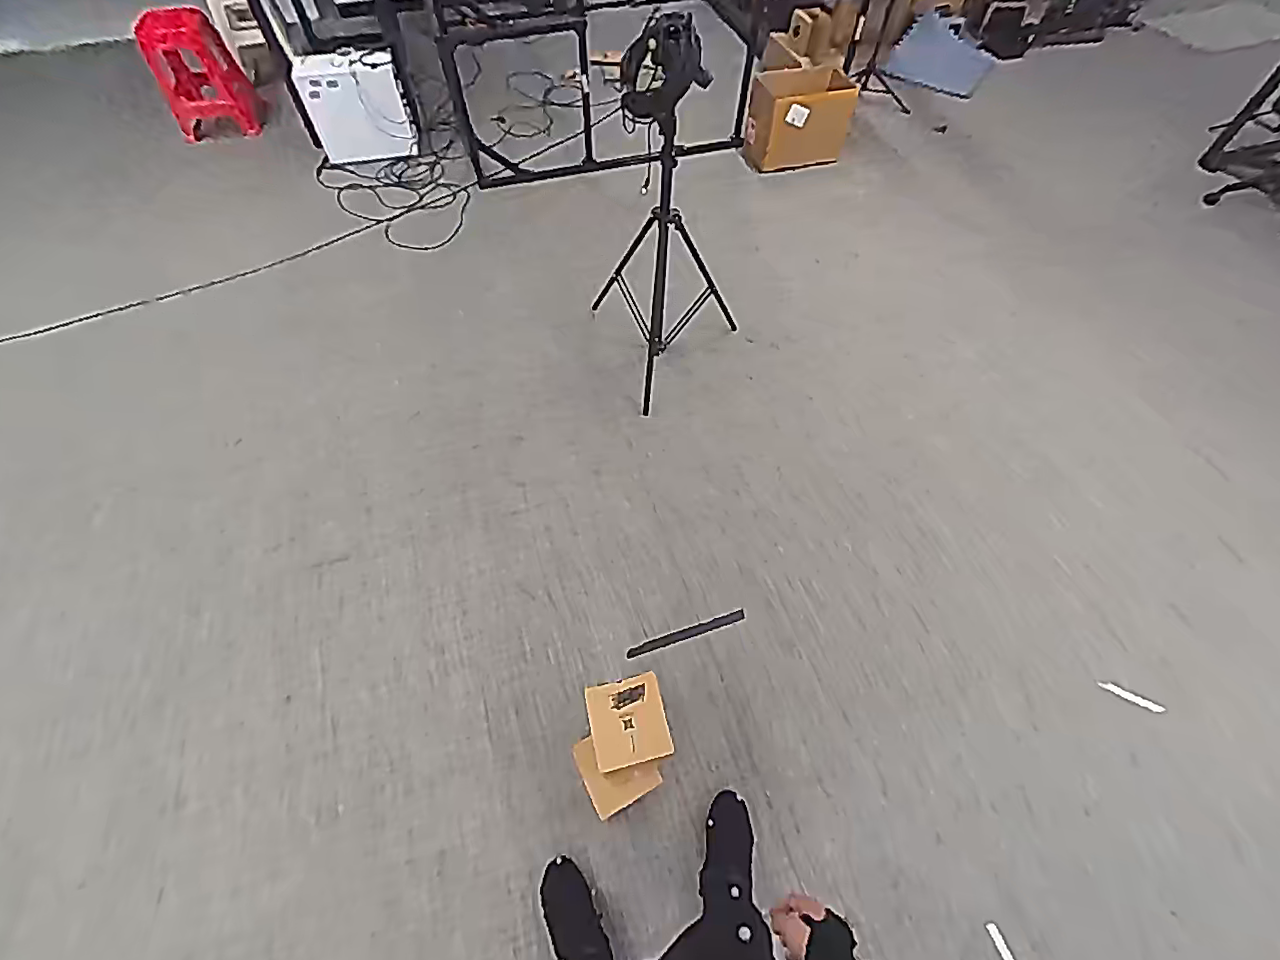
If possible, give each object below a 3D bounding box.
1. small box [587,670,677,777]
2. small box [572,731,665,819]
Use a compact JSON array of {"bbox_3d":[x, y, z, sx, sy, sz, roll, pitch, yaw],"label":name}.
[{"bbox_3d":[-0.021,0.556,1.227,0.168,0.176,0.179,-12,59,-7],"label":"small box"},{"bbox_3d":[-0.053,0.702,1.328,0.168,0.176,0.179,-25,62,-14],"label":"small box"}]
